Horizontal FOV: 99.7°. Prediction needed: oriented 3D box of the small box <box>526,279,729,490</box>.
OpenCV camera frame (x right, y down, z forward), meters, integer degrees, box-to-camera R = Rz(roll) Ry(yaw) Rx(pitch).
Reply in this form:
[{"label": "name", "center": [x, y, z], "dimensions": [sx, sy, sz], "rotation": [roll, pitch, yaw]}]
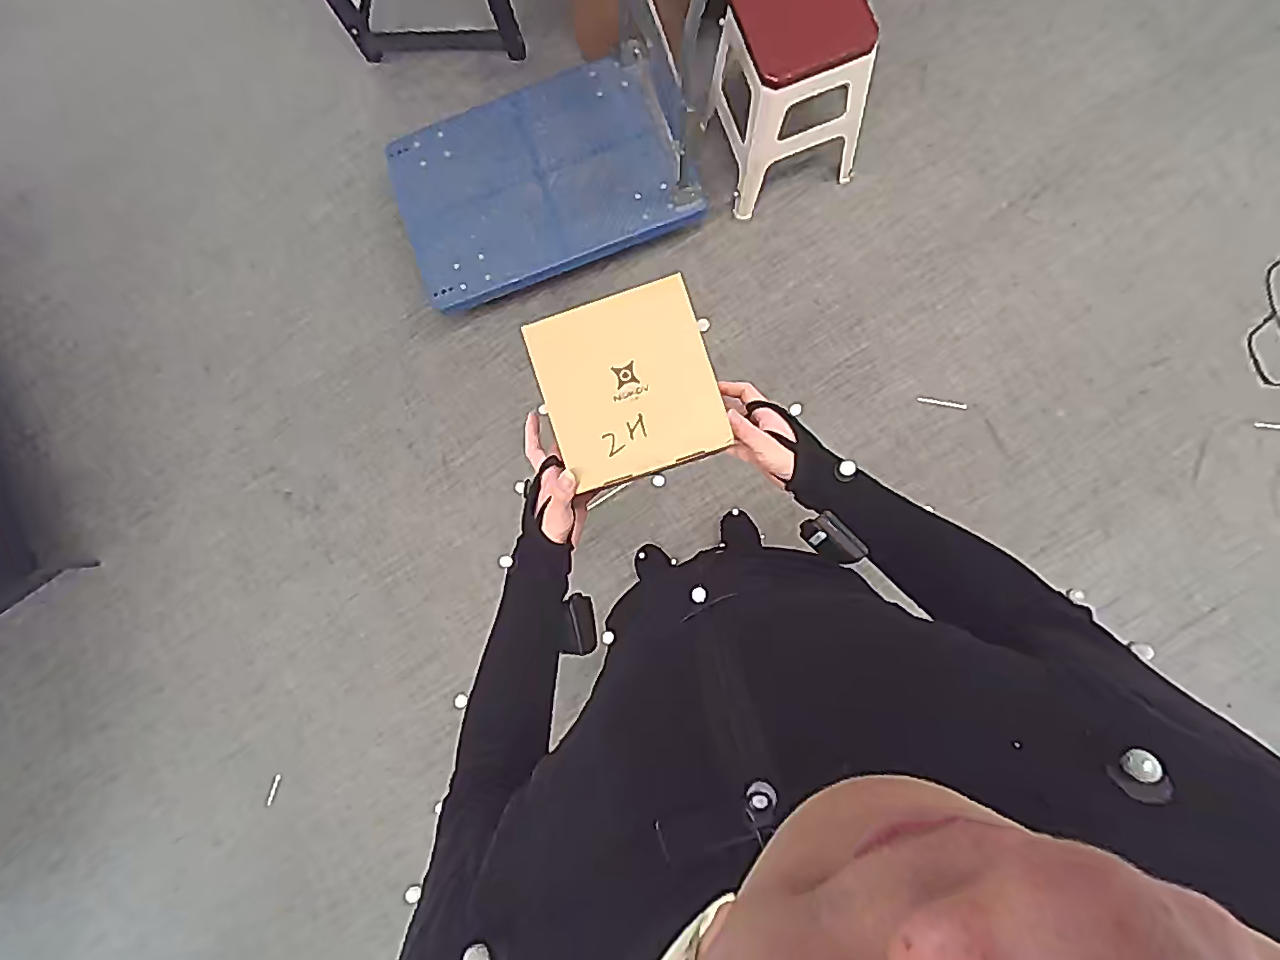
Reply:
[{"label": "small box", "center": [-0.011, -0.093, 0.612], "dimensions": [0.168, 0.176, 0.179], "rotation": [-17, 90, 3]}]
